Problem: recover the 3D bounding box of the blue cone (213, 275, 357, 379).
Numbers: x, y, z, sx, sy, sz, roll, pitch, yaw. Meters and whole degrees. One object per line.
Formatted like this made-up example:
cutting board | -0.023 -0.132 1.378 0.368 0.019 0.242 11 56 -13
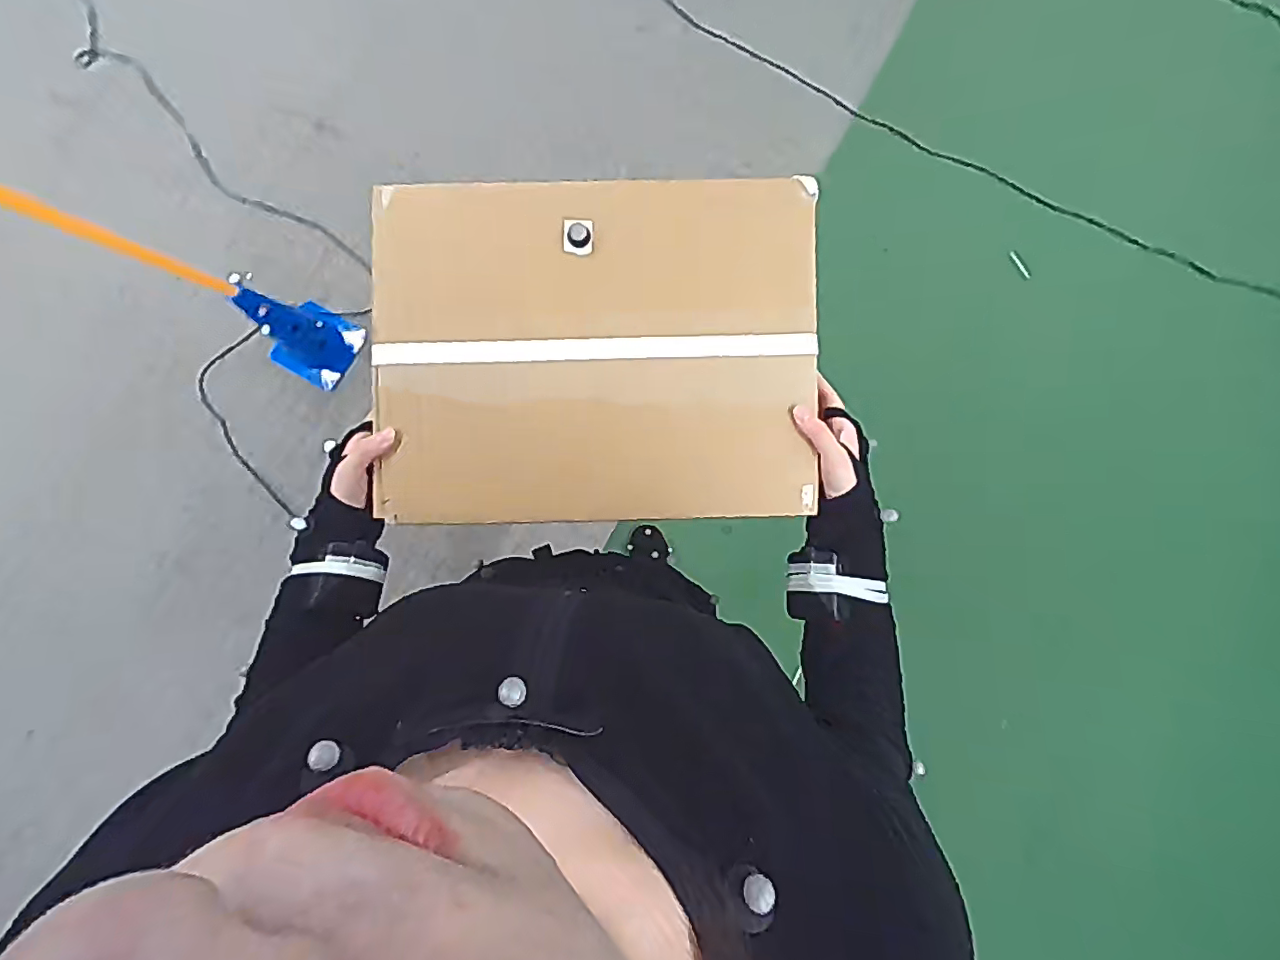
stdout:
blue cone | -0.871 -0.394 1.306 0.192 0.380 0.193 28 85 -2
